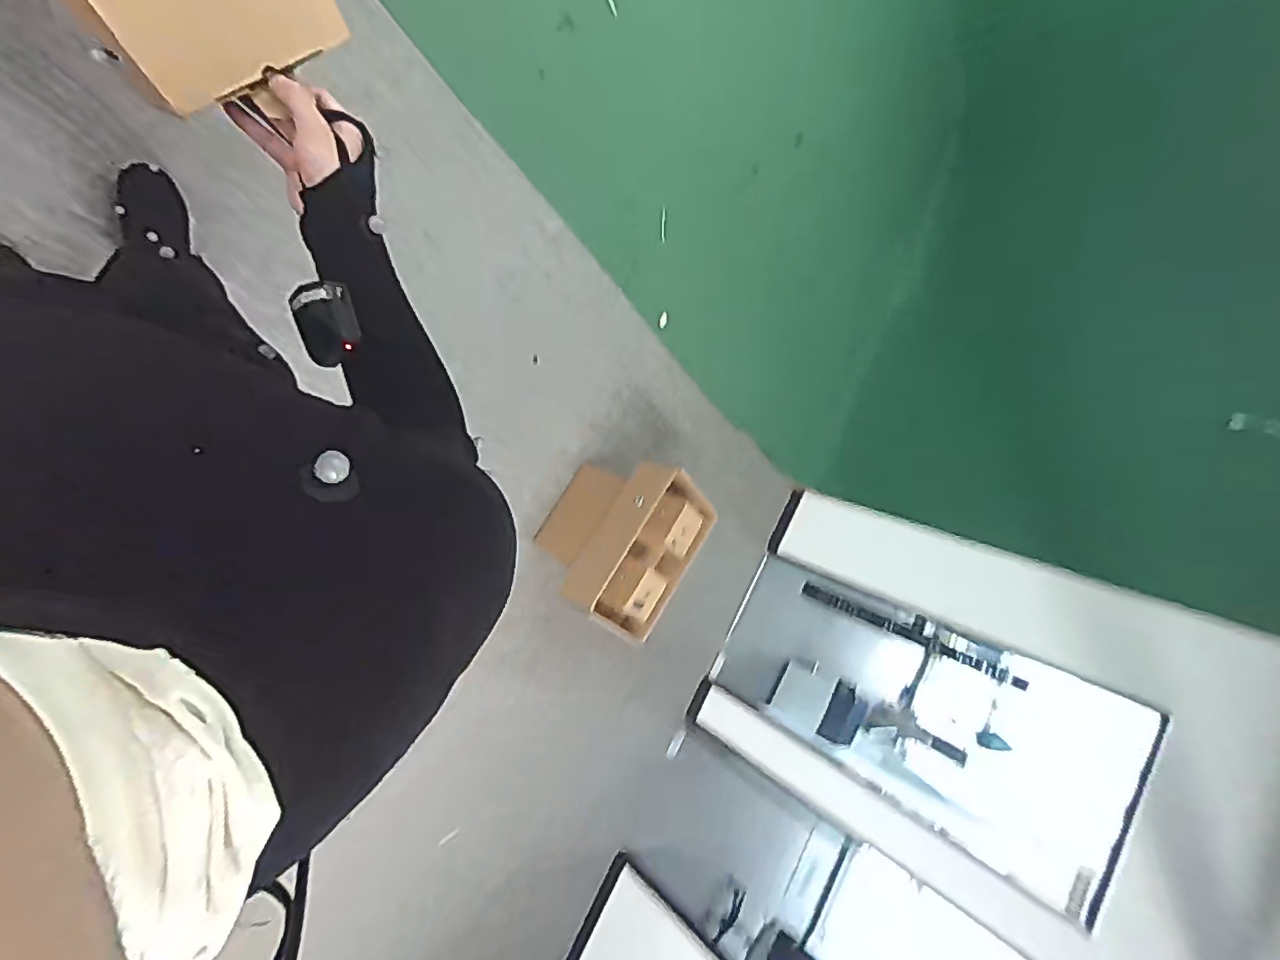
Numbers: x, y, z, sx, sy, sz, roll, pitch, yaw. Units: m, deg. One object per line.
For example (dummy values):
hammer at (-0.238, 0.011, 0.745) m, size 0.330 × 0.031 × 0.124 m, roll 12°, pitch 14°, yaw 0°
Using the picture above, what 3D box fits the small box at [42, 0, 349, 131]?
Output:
small box at (-0.385, -0.417, 0.433) m, size 0.168 × 0.176 × 0.179 m, roll -44°, pitch 145°, yaw -20°

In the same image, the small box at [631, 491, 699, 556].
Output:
small box at (0.093, 0.164, 2.089) m, size 0.179 × 0.176 × 0.168 m, roll -60°, pitch 140°, yaw -12°
